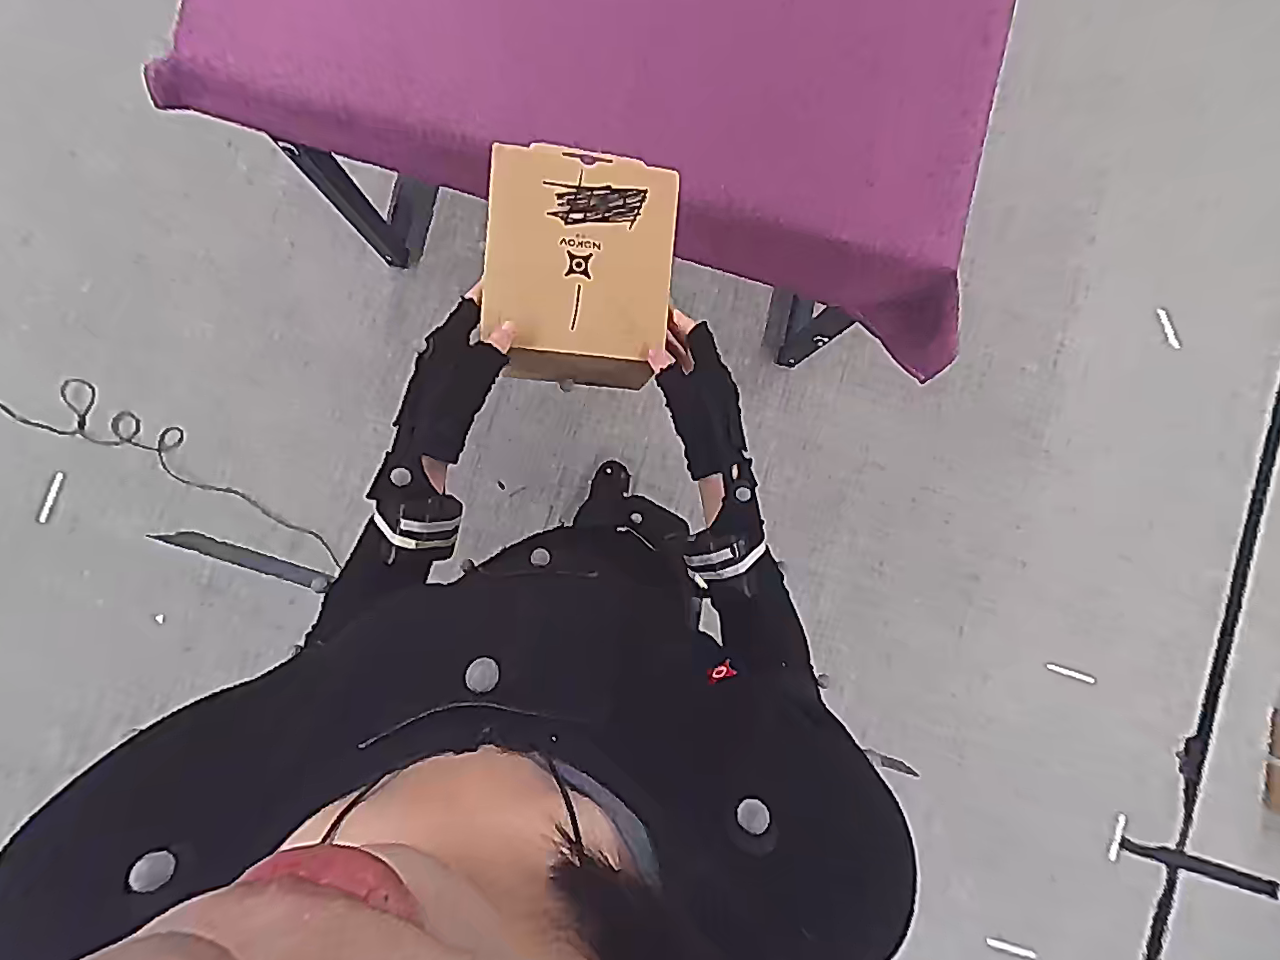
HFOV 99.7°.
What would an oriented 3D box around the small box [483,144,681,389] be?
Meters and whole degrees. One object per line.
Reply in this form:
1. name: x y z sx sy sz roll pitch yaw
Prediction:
1. small box: -0.060 -0.200 0.556 0.168 0.176 0.179 4 90 -7
